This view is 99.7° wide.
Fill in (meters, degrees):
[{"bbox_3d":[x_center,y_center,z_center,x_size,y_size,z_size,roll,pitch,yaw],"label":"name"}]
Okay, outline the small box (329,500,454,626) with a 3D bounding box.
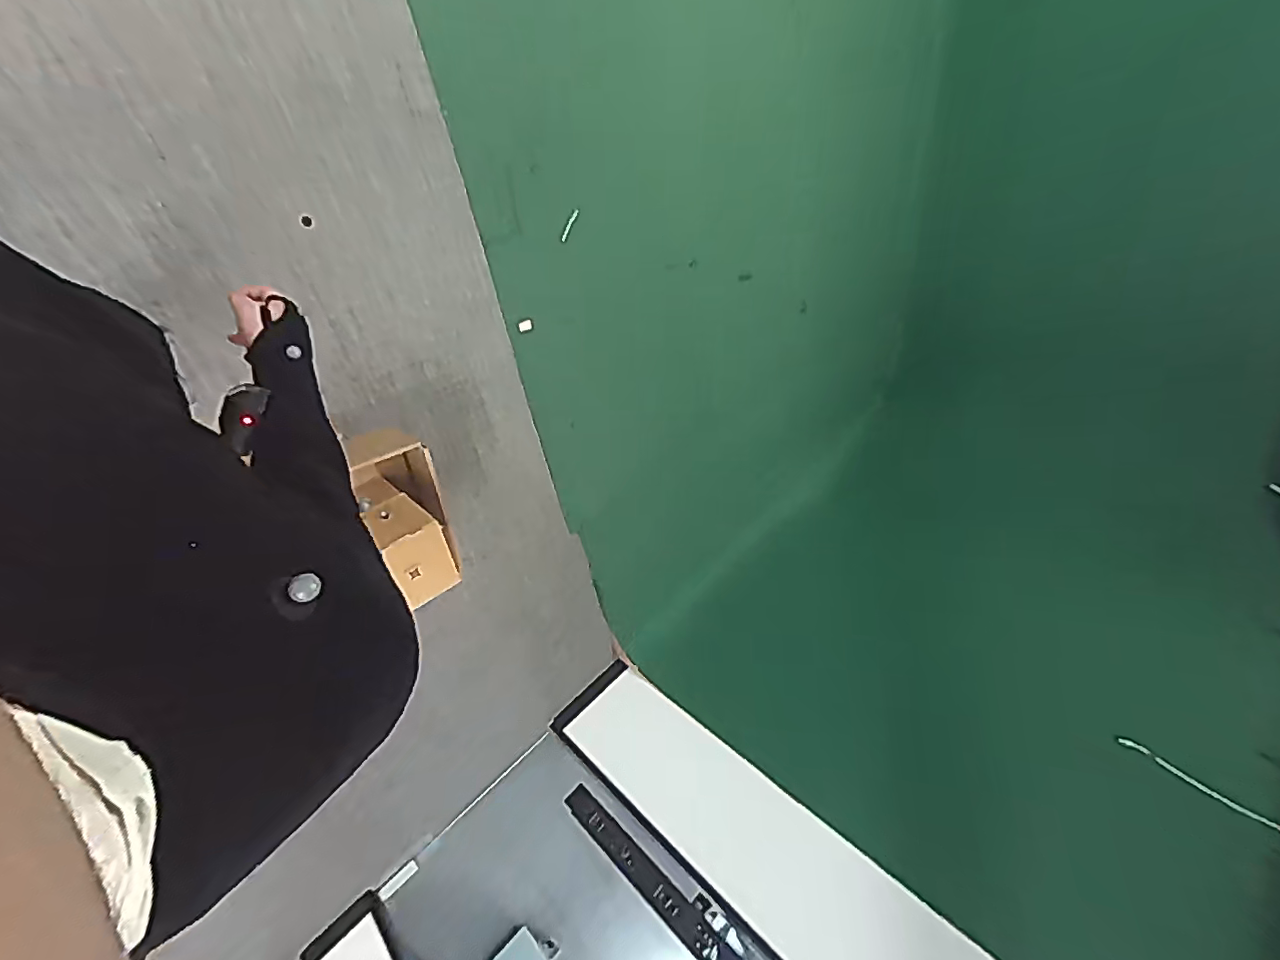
[{"bbox_3d":[-0.534,0.172,1.166,0.168,0.176,0.179,-32,131,-33],"label":"small box"}]
